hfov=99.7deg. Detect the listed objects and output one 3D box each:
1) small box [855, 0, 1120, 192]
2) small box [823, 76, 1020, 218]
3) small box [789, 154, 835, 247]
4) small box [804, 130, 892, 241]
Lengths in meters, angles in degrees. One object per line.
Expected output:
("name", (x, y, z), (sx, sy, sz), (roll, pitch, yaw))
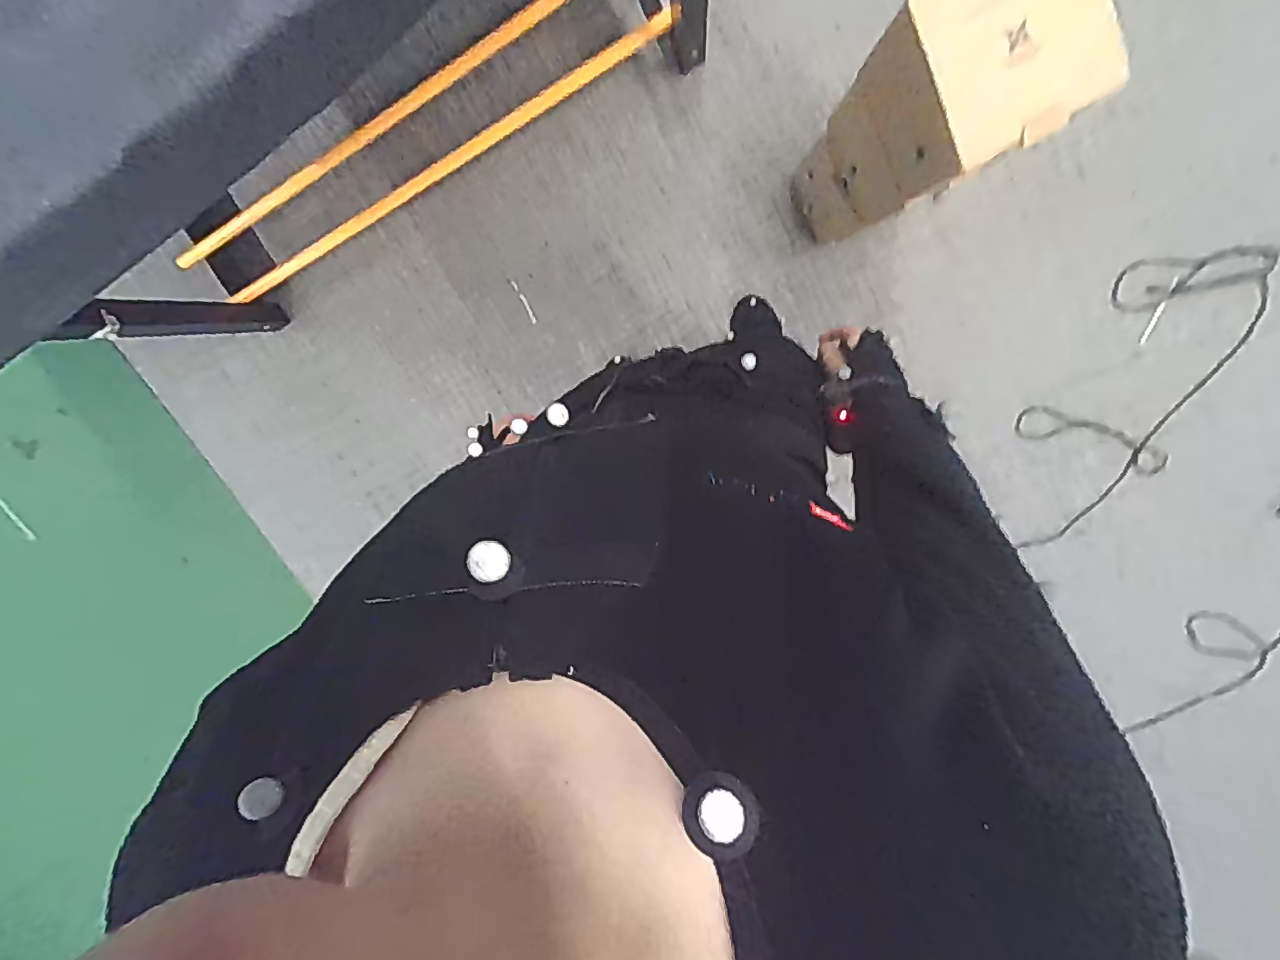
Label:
("small box", (0.371, -0.453, 0.609), (0.168, 0.176, 0.179), (-27, 102, 11))
("small box", (0.385, -0.494, 0.764), (0.168, 0.176, 0.179), (-26, 104, 10))
("small box", (0.420, -0.589, 1.078), (0.179, 0.176, 0.168), (-25, 102, 12))
("small box", (0.397, -0.534, 0.924), (0.179, 0.176, 0.168), (-28, 103, 11))
